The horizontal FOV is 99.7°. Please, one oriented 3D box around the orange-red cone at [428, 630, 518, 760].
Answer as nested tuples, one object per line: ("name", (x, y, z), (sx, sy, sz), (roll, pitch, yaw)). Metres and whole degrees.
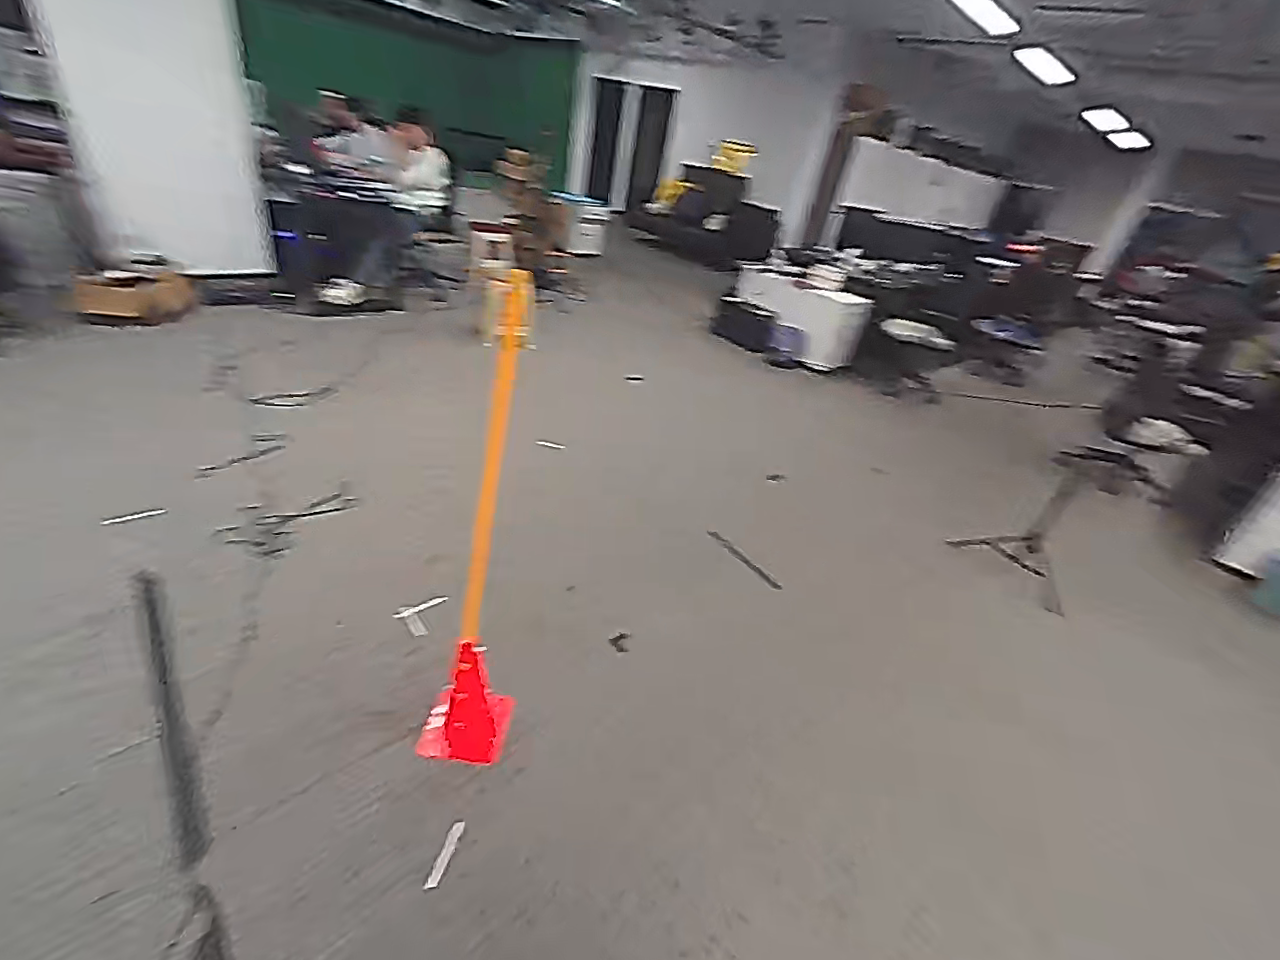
("orange-red cone", (-0.420, 0.513, 1.373), (0.198, 0.360, 0.199), (11, 34, -1))
